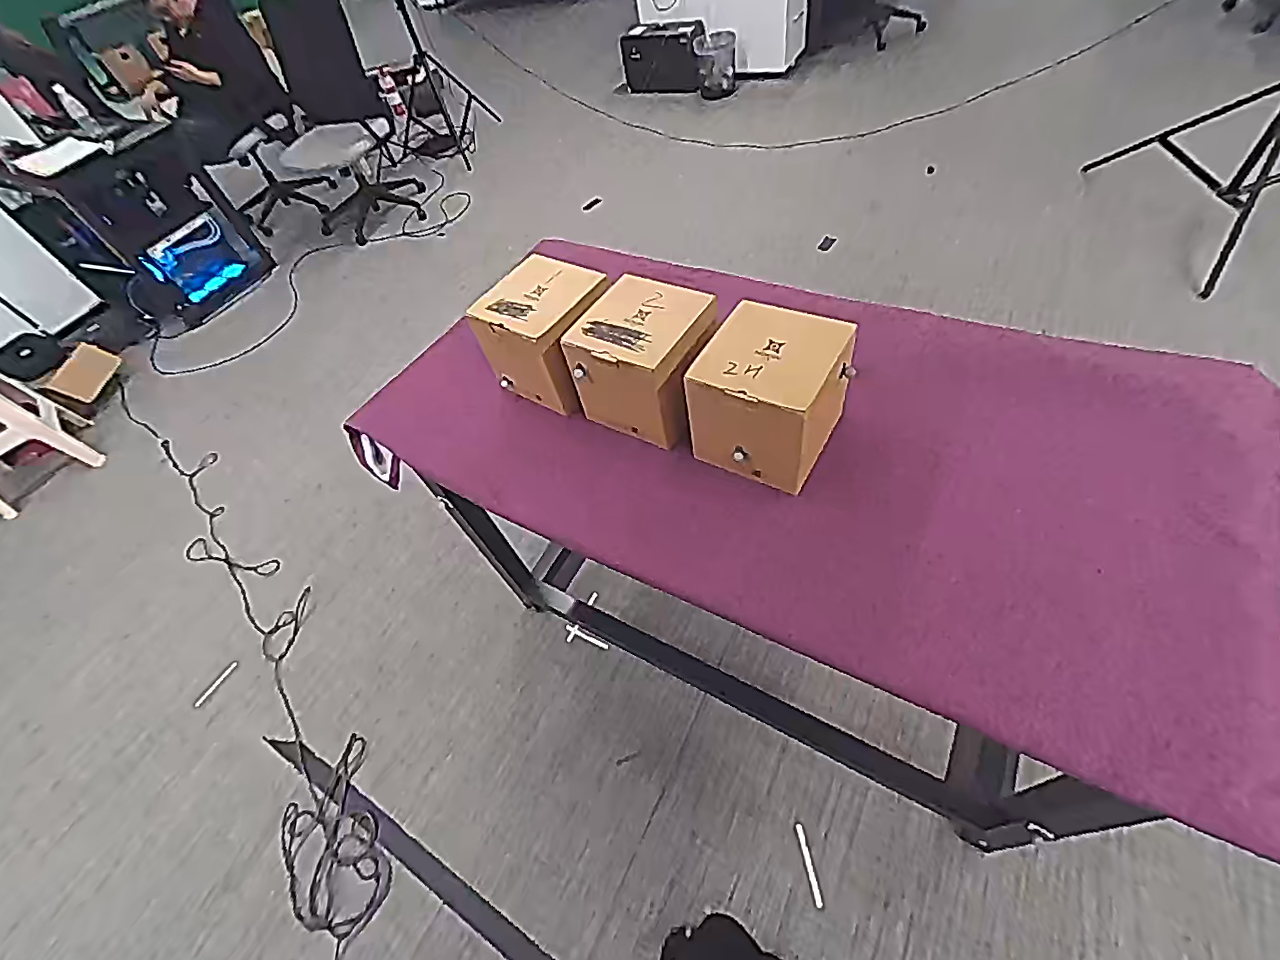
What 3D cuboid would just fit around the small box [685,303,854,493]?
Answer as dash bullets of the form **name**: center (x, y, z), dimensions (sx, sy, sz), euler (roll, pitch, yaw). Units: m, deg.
- **small box**: center (0.180, -0.115, 0.762), dimensions (0.168, 0.176, 0.179), euler (22, 60, 27)
